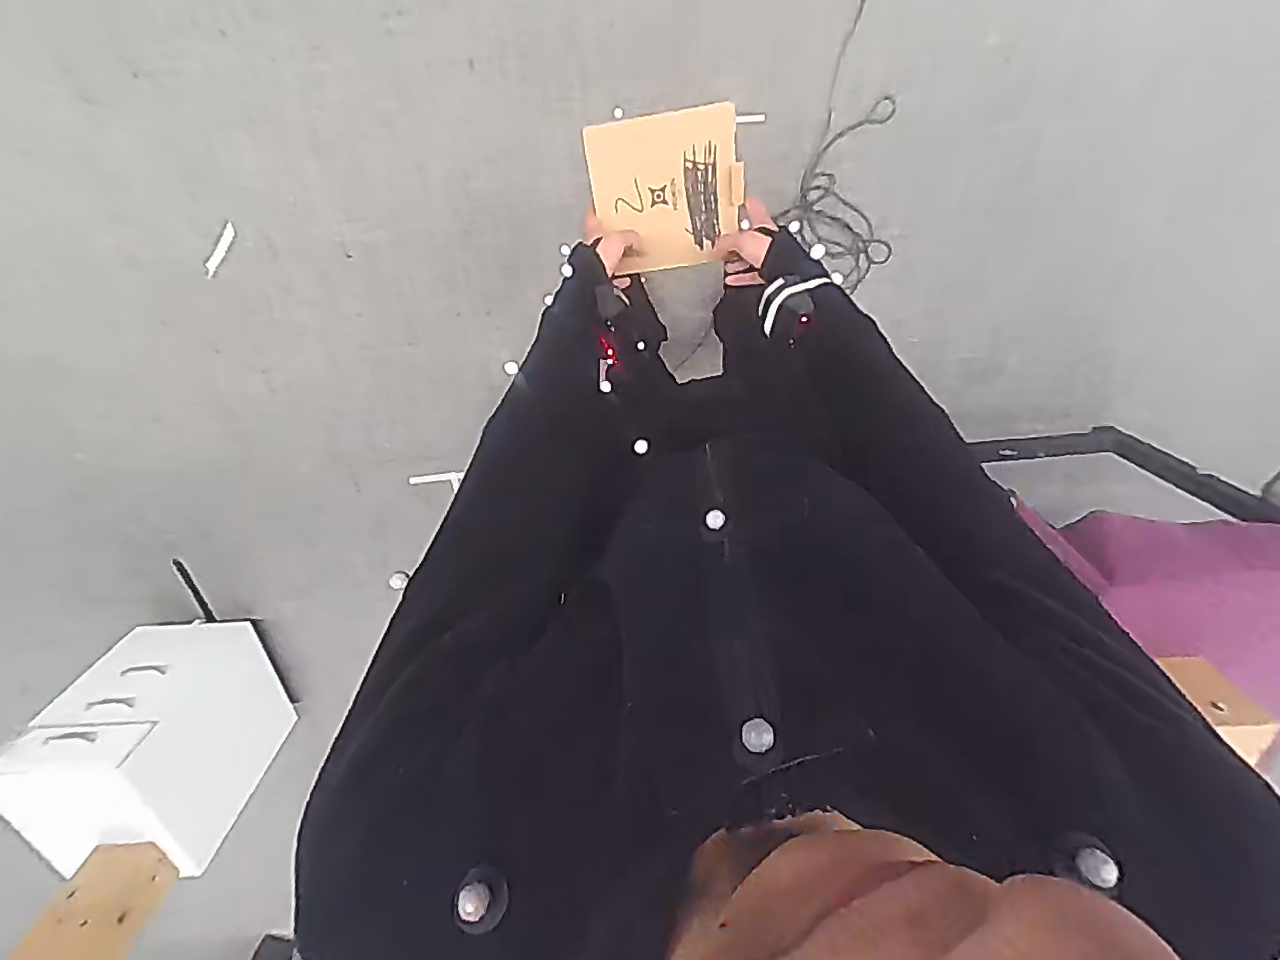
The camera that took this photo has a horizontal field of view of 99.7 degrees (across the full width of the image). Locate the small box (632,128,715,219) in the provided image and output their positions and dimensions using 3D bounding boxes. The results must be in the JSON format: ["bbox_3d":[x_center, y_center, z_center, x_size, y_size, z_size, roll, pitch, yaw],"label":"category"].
[{"bbox_3d":[0.075,-0.701,1.249,0.179,0.176,0.168,-5,118,1],"label":"small box"}]

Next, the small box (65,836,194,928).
[{"bbox_3d":[-1.447,1.151,1.547,0.179,0.176,0.168,-4,119,1],"label":"small box"}]

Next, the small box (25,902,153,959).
[{"bbox_3d":[-1.440,1.230,1.403,0.168,0.176,0.179,-3,119,2],"label":"small box"}]

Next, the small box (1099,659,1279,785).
[{"bbox_3d":[1.092,0.478,1.084,0.179,0.176,0.168,-4,118,1],"label":"small box"}]
